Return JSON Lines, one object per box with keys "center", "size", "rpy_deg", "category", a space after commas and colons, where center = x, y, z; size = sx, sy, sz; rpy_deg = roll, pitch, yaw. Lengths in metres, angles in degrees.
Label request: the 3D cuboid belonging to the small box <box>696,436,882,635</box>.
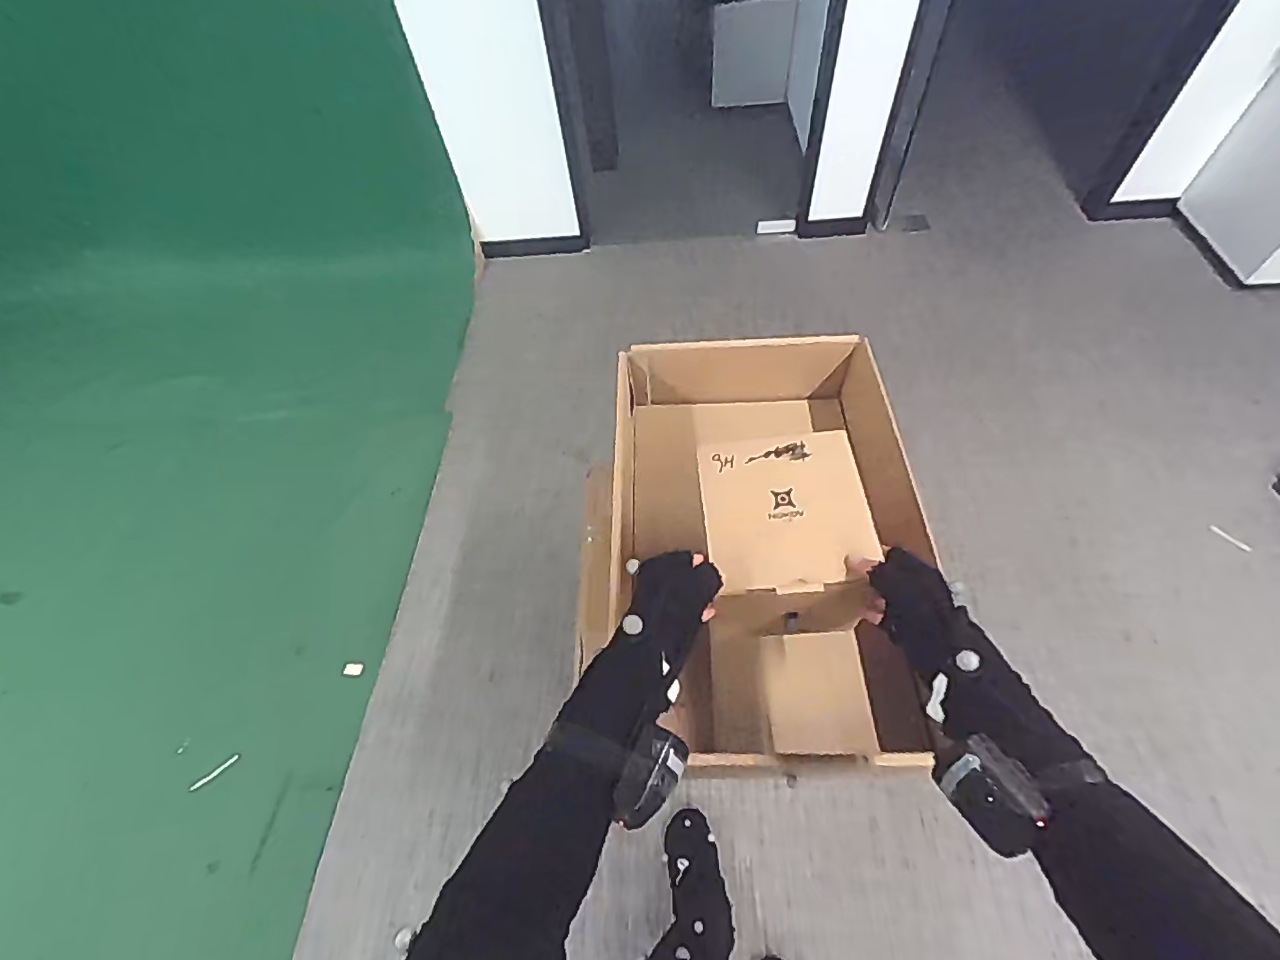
{"center": [0.158, 0.074, 0.624], "size": [0.168, 0.176, 0.179], "rpy_deg": [-6, 58, 6], "category": "small box"}
